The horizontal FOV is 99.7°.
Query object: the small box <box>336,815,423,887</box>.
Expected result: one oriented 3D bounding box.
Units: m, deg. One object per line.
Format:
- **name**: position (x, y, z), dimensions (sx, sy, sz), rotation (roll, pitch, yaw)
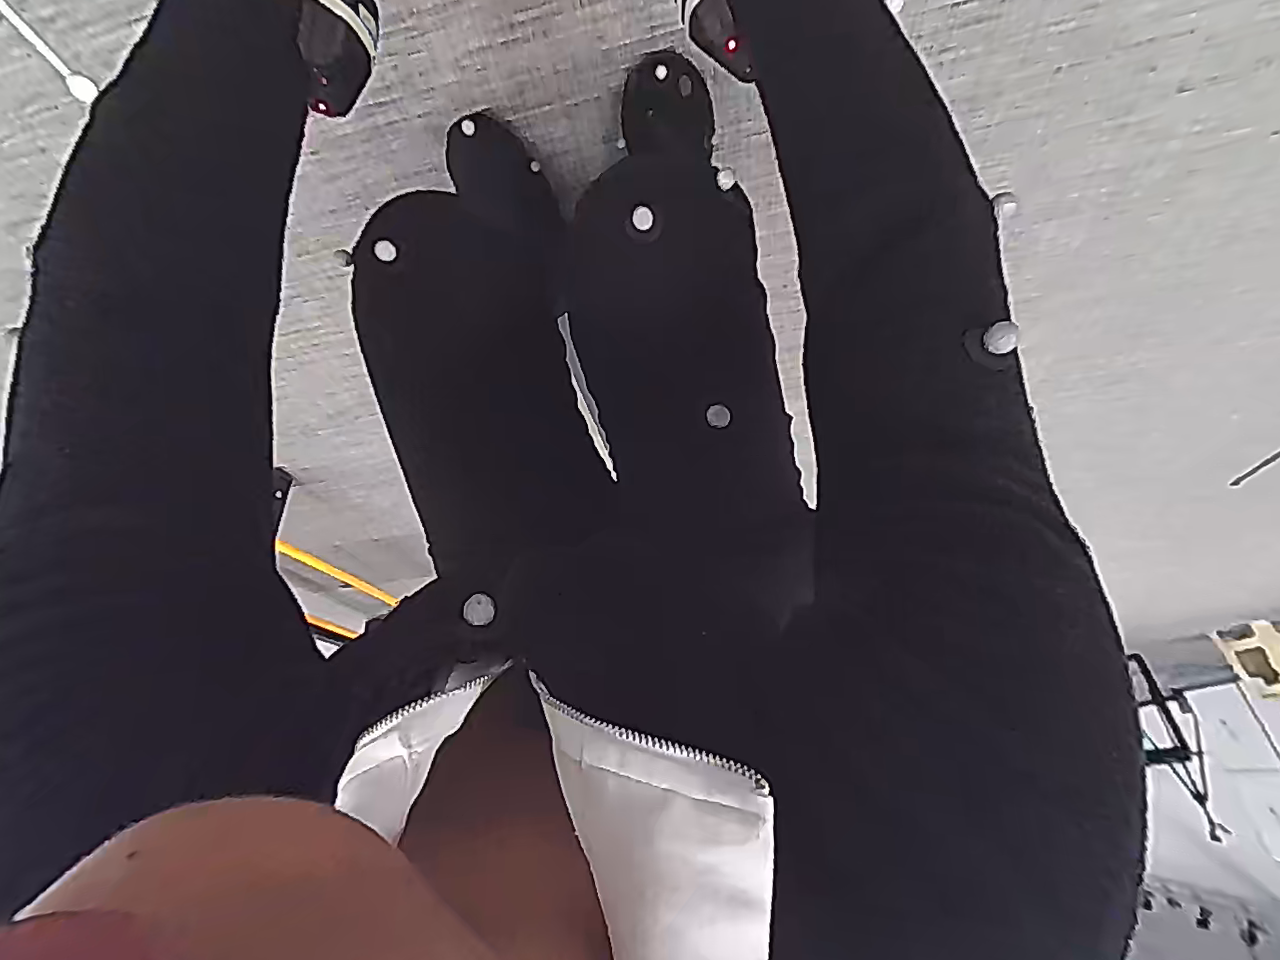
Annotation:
- **small box**: position (-0.805, 1.152, 1.689), dimensions (0.179, 0.176, 0.168), rotation (-8, 151, 5)
